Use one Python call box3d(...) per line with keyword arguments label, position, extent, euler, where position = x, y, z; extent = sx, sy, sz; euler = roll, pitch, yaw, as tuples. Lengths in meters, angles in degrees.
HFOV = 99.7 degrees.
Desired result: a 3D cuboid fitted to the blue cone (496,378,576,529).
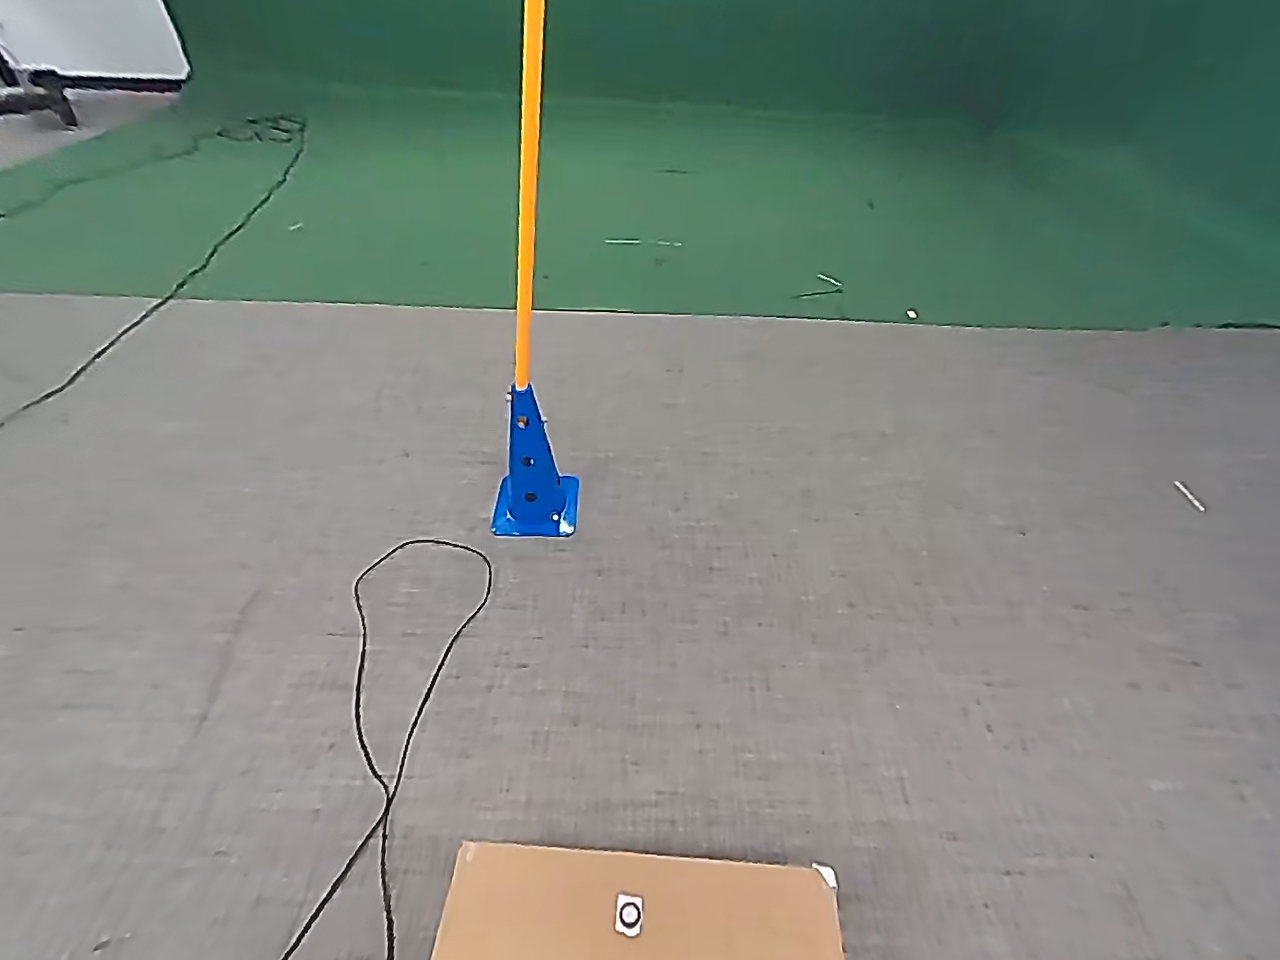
box3d(label="blue cone", position=(-0.239, -0.071, 1.210), extent=(0.193, 0.380, 0.192), euler=(1, 46, -5))
